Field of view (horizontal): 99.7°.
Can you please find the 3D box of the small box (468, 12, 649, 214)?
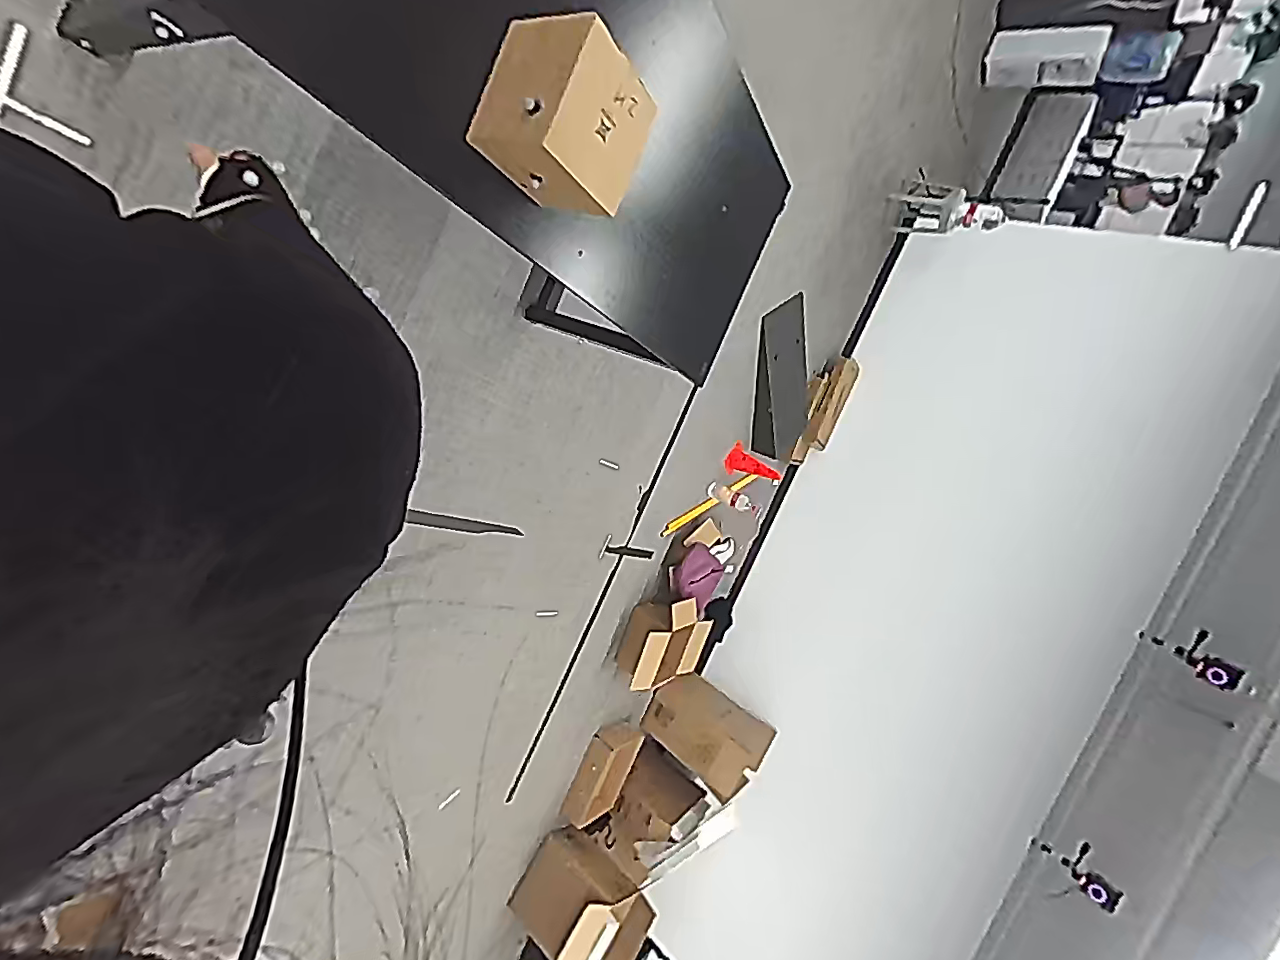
[{"bbox_3d":[-0.121,-0.524,0.791,0.168,0.176,0.179,17,97,-58],"label":"small box"}]
